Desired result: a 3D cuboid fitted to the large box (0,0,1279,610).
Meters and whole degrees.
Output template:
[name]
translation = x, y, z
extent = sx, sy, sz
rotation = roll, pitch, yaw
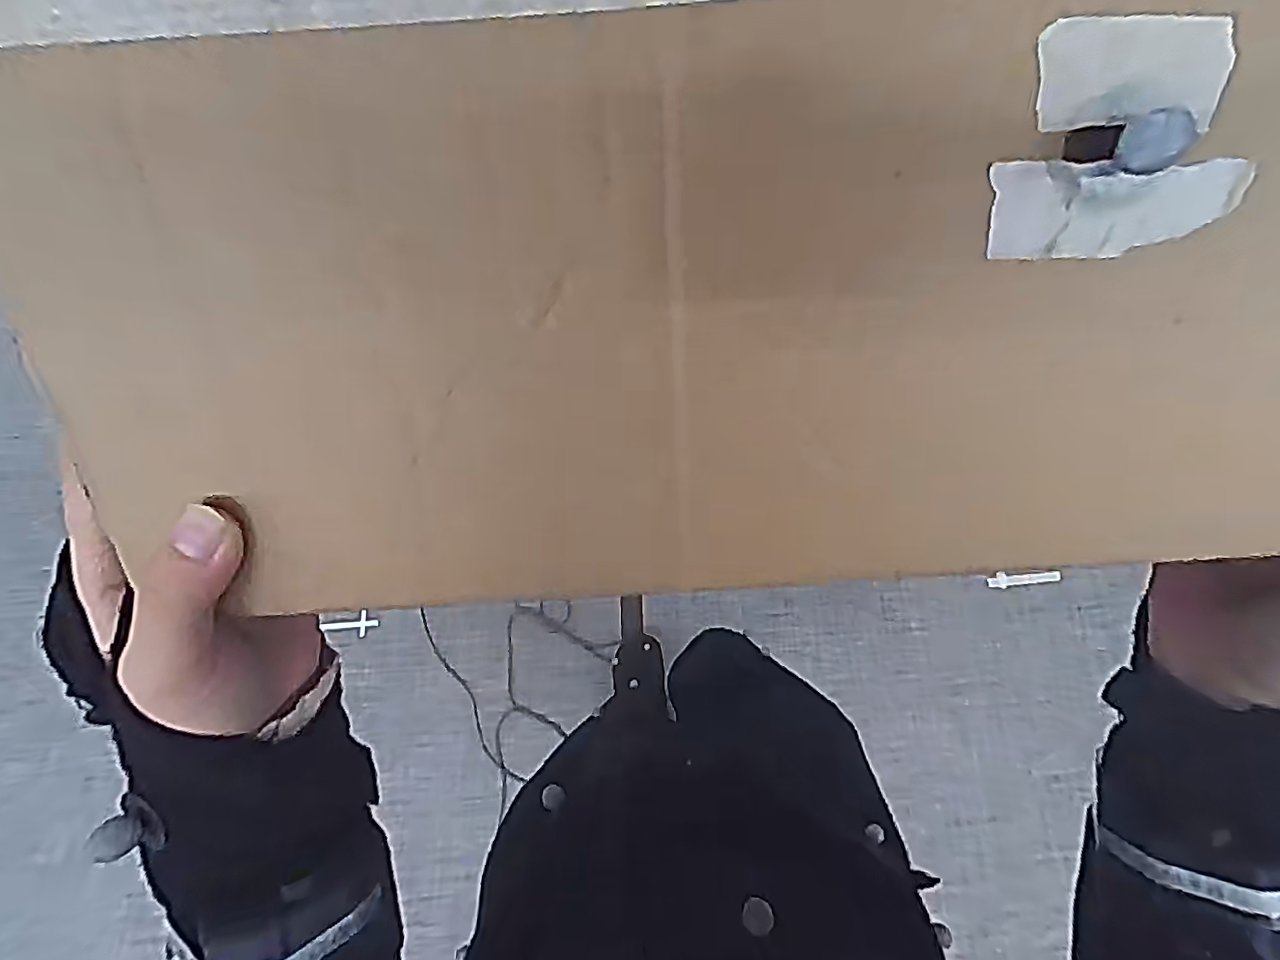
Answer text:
[large box]
translation = 0.035, -0.165, 0.270
extent = 0.408, 0.320, 0.320
rotation = -4, 109, 0
